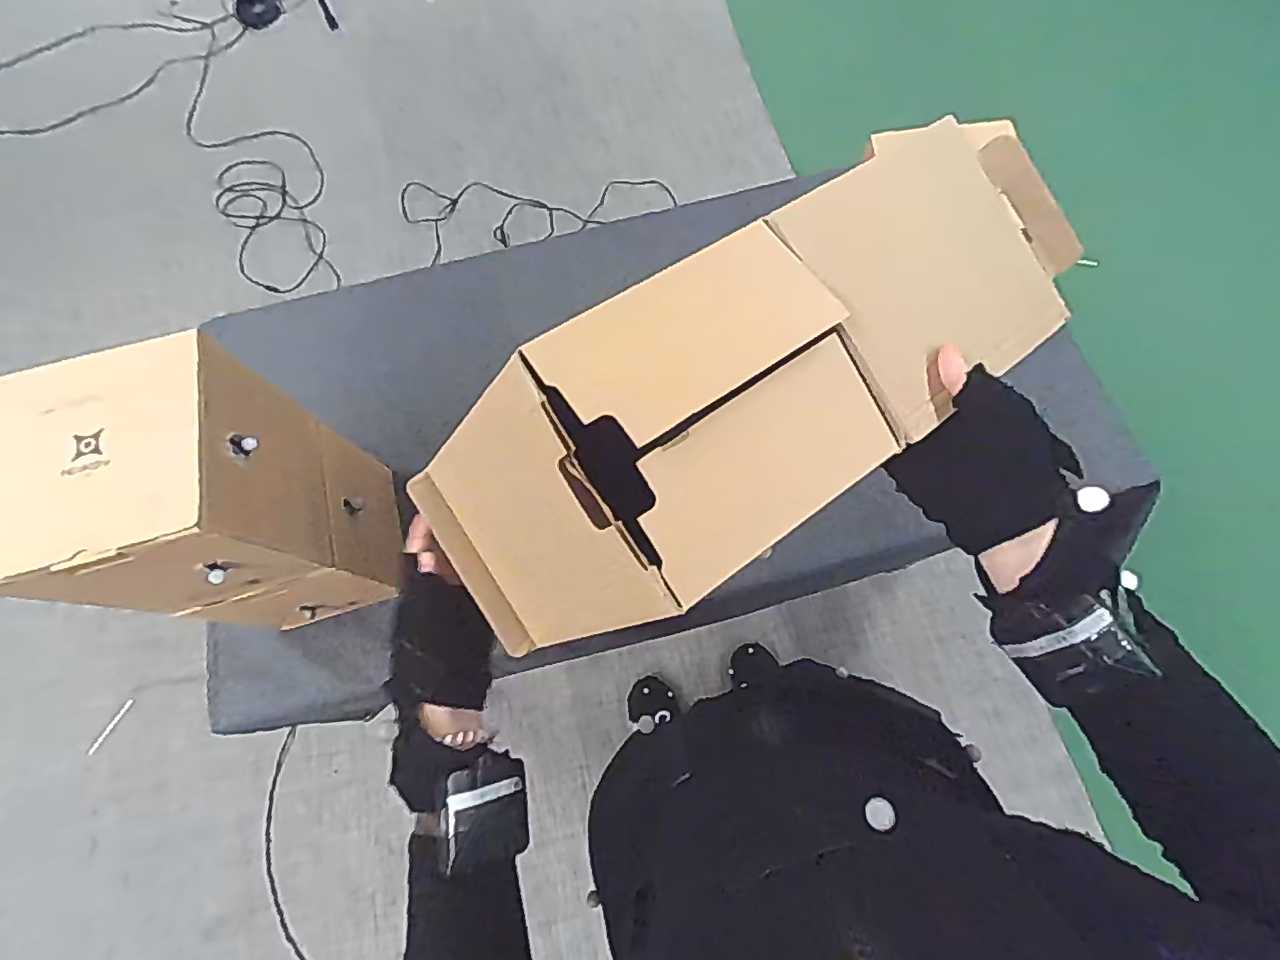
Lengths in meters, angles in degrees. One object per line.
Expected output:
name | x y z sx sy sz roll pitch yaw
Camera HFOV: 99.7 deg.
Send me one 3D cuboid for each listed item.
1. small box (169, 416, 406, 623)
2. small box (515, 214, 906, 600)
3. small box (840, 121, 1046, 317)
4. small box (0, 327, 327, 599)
small box | -0.397 0.055 0.632 0.168 0.176 0.179 -16 71 -3
small box | 0.030 -0.037 0.377 0.179 0.176 0.168 -32 92 -16
small box | 0.379 -0.334 0.719 0.179 0.176 0.168 -3 72 2
small box | -0.405 0.001 0.478 0.168 0.176 0.179 -15 71 -3
